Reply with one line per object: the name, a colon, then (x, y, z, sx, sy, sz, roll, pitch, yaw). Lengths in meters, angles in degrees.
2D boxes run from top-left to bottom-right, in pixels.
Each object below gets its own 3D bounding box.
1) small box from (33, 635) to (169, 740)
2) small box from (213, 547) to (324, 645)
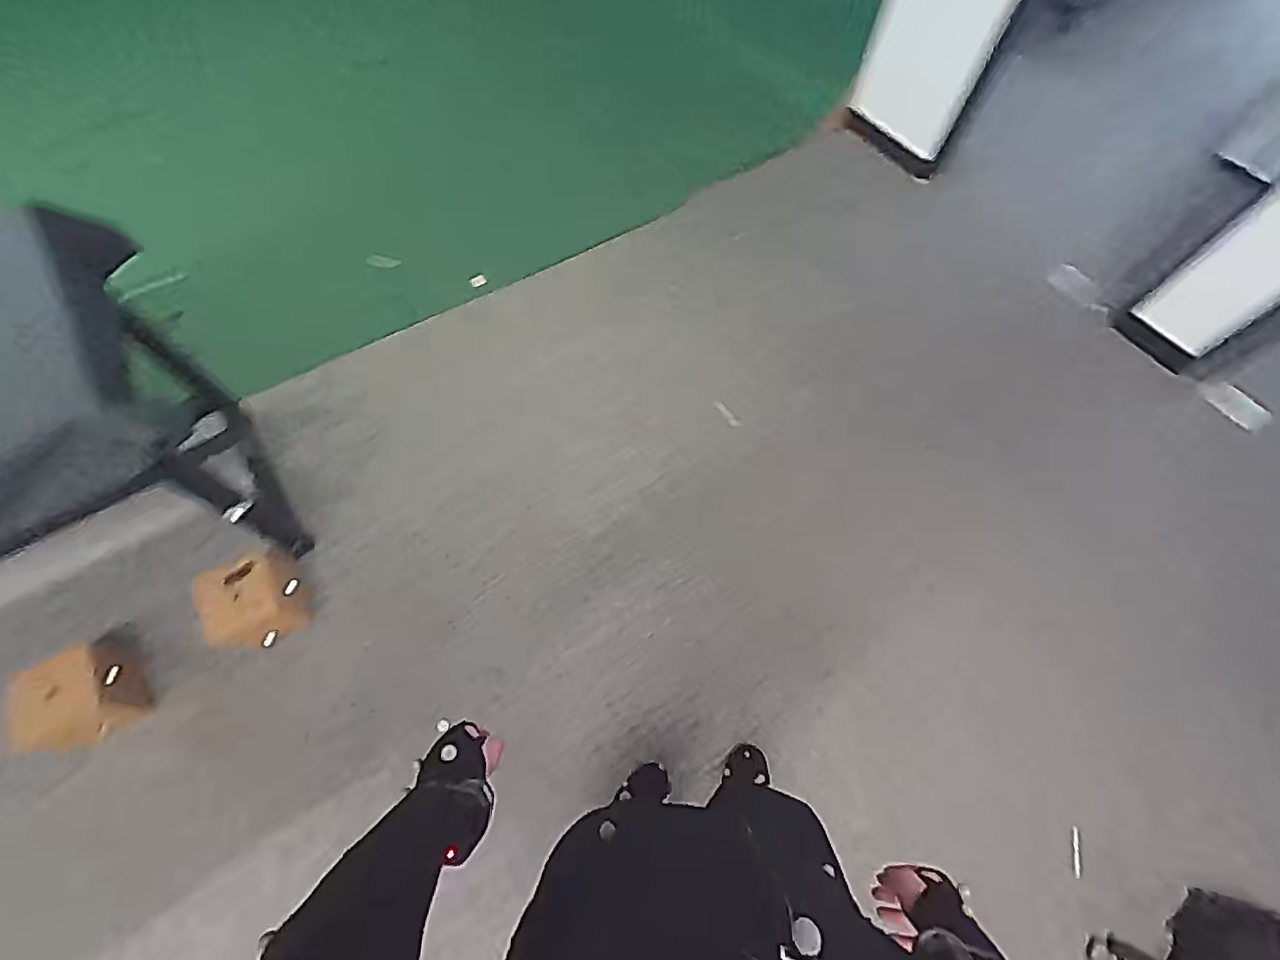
small box: (-1.298, 0.507, 1.314, 0.168, 0.176, 0.179, -28, 66, -15)
small box: (-0.963, 0.307, 1.411, 0.168, 0.176, 0.179, -25, 68, -12)
